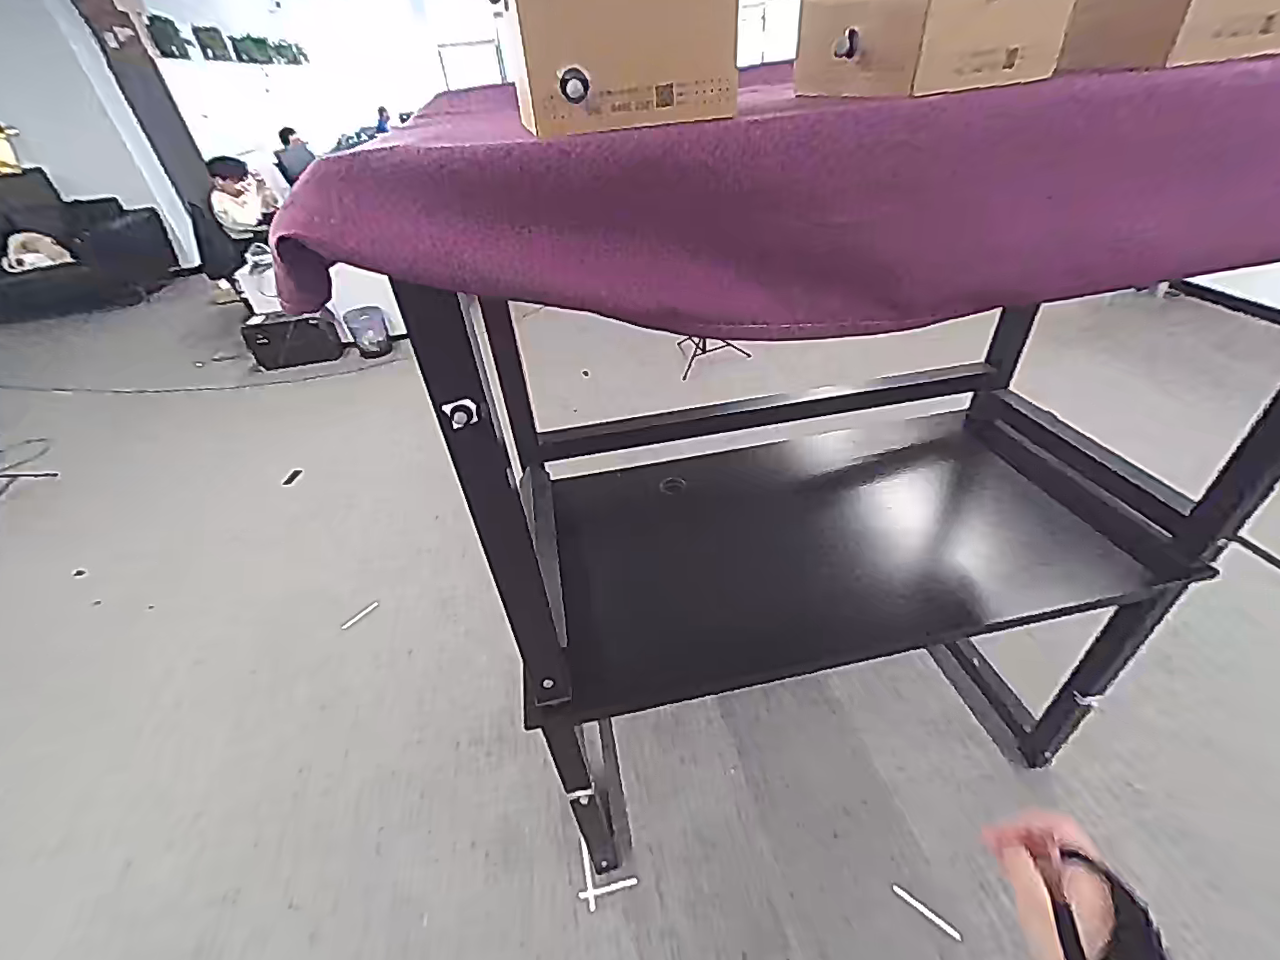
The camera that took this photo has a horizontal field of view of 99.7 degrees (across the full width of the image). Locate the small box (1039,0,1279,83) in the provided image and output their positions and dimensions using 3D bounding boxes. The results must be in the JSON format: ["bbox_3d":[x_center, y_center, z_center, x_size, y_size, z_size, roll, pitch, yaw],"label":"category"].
[{"bbox_3d":[0.532,-0.506,0.533,0.168,0.176,0.179,-12,37,-10],"label":"small box"}]

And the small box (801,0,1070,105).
[{"bbox_3d":[0.269,-0.454,0.494,0.168,0.176,0.179,-17,39,-14],"label":"small box"}]

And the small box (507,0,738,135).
[{"bbox_3d":[-0.022,-0.394,0.449,0.168,0.176,0.179,-12,36,-9],"label":"small box"}]
